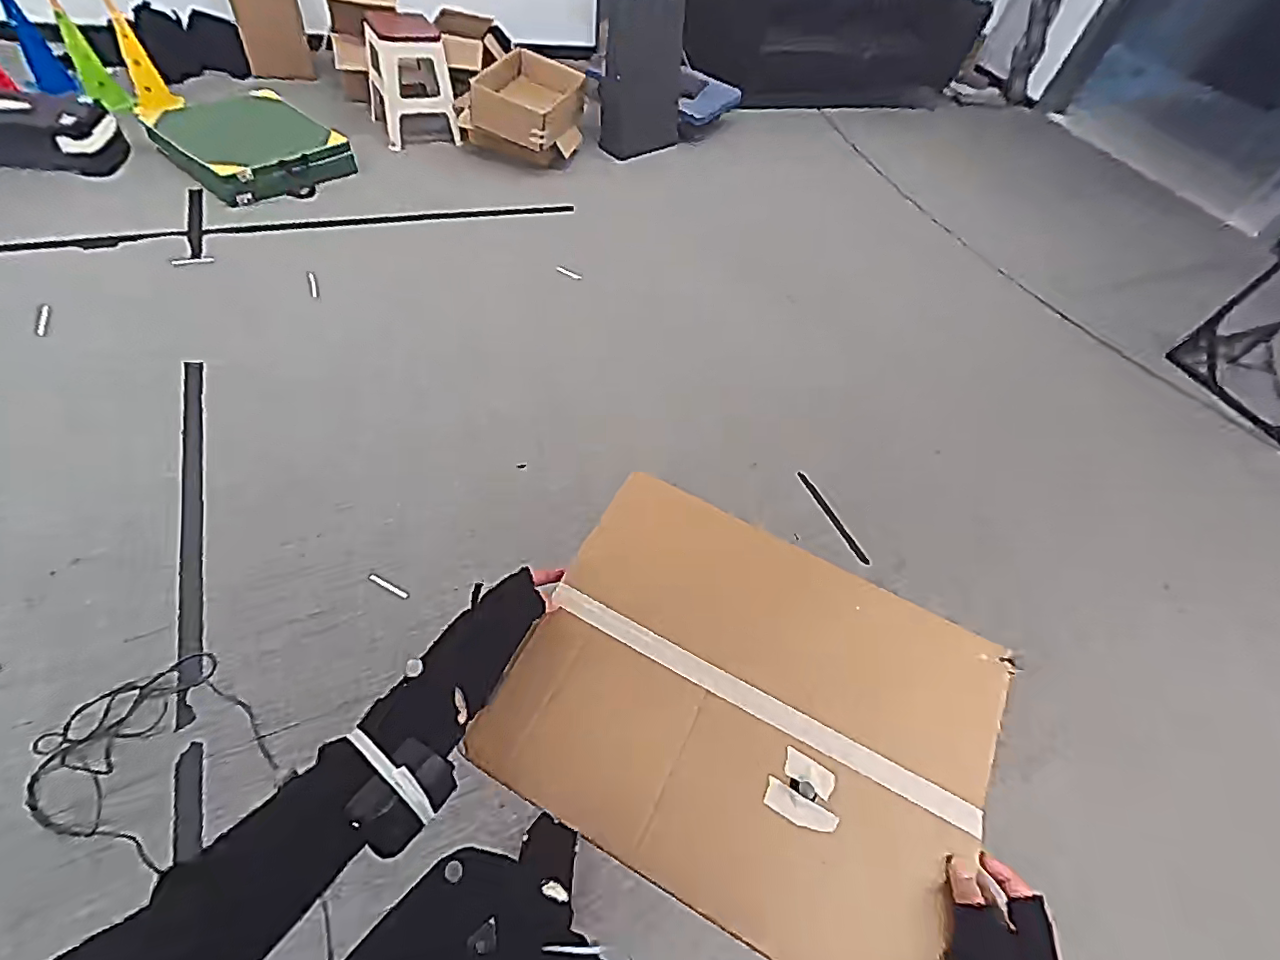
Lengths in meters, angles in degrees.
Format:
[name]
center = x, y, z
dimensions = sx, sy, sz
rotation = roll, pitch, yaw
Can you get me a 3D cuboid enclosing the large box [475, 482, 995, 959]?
[large box]
center = 0.092, 0.270, 0.622
dimensions = 0.408, 0.320, 0.320
rotation = 26, 64, 11
